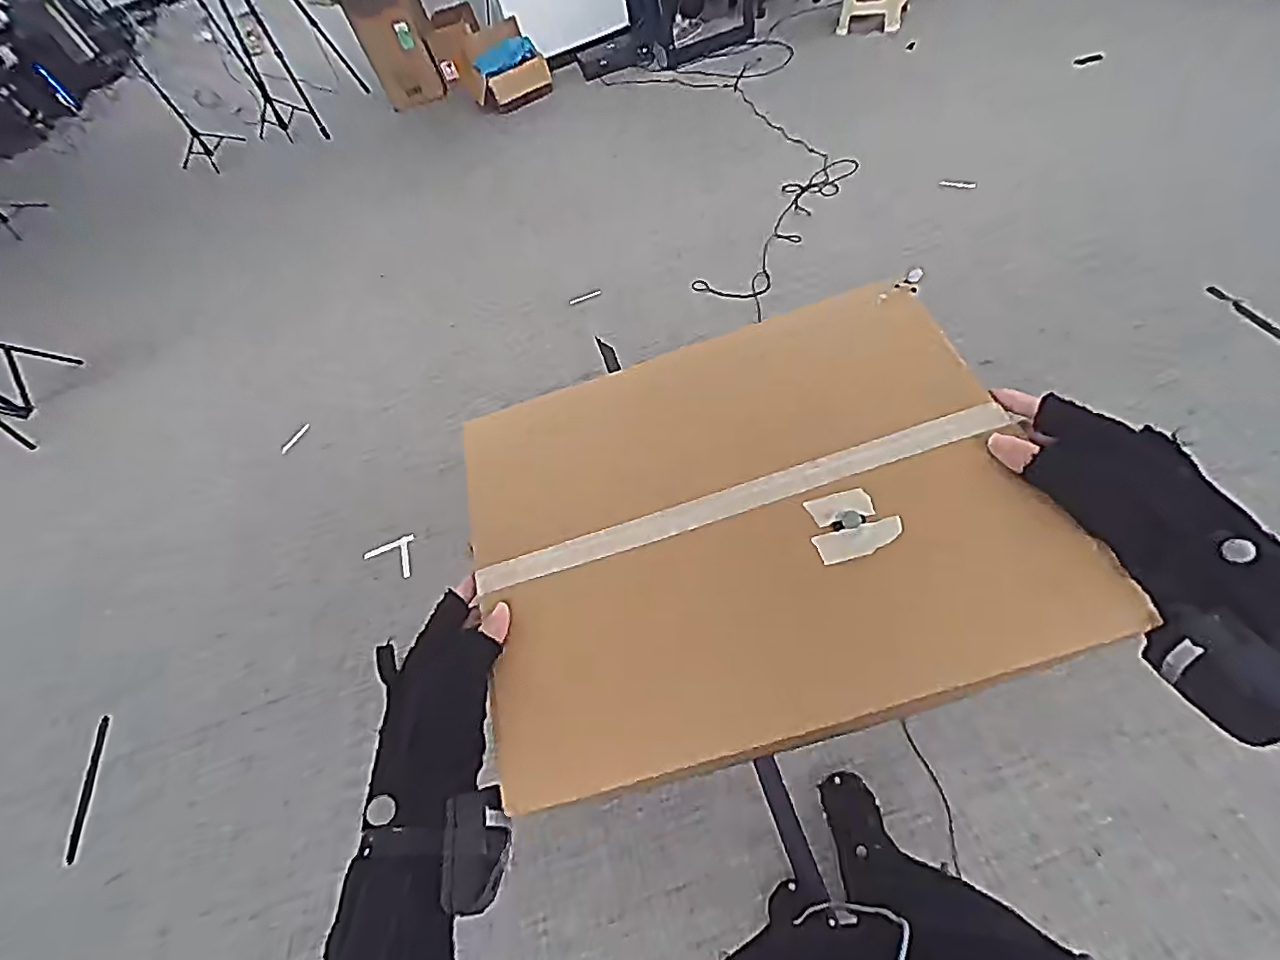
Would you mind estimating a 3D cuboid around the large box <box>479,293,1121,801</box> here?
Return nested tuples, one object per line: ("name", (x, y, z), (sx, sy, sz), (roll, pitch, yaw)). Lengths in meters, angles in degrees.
("large box", (0.103, 0.090, 0.544), (0.408, 0.320, 0.320), (-18, 60, 2))
